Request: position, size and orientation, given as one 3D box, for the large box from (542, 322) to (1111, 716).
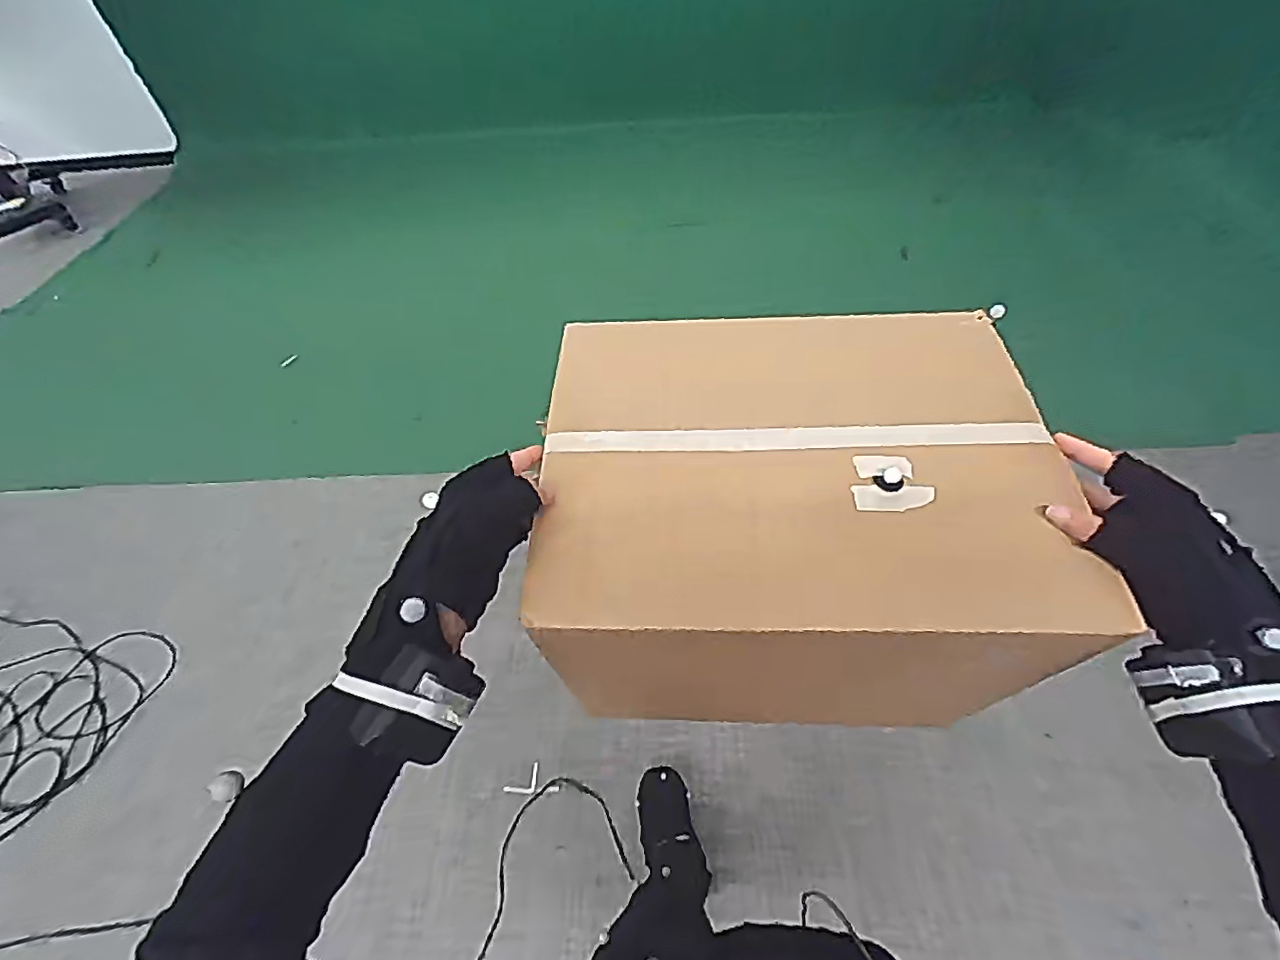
[{"bbox_3d":[0.132,0.057,0.582,0.408,0.320,0.320,-1,56,3],"label":"large box"}]
